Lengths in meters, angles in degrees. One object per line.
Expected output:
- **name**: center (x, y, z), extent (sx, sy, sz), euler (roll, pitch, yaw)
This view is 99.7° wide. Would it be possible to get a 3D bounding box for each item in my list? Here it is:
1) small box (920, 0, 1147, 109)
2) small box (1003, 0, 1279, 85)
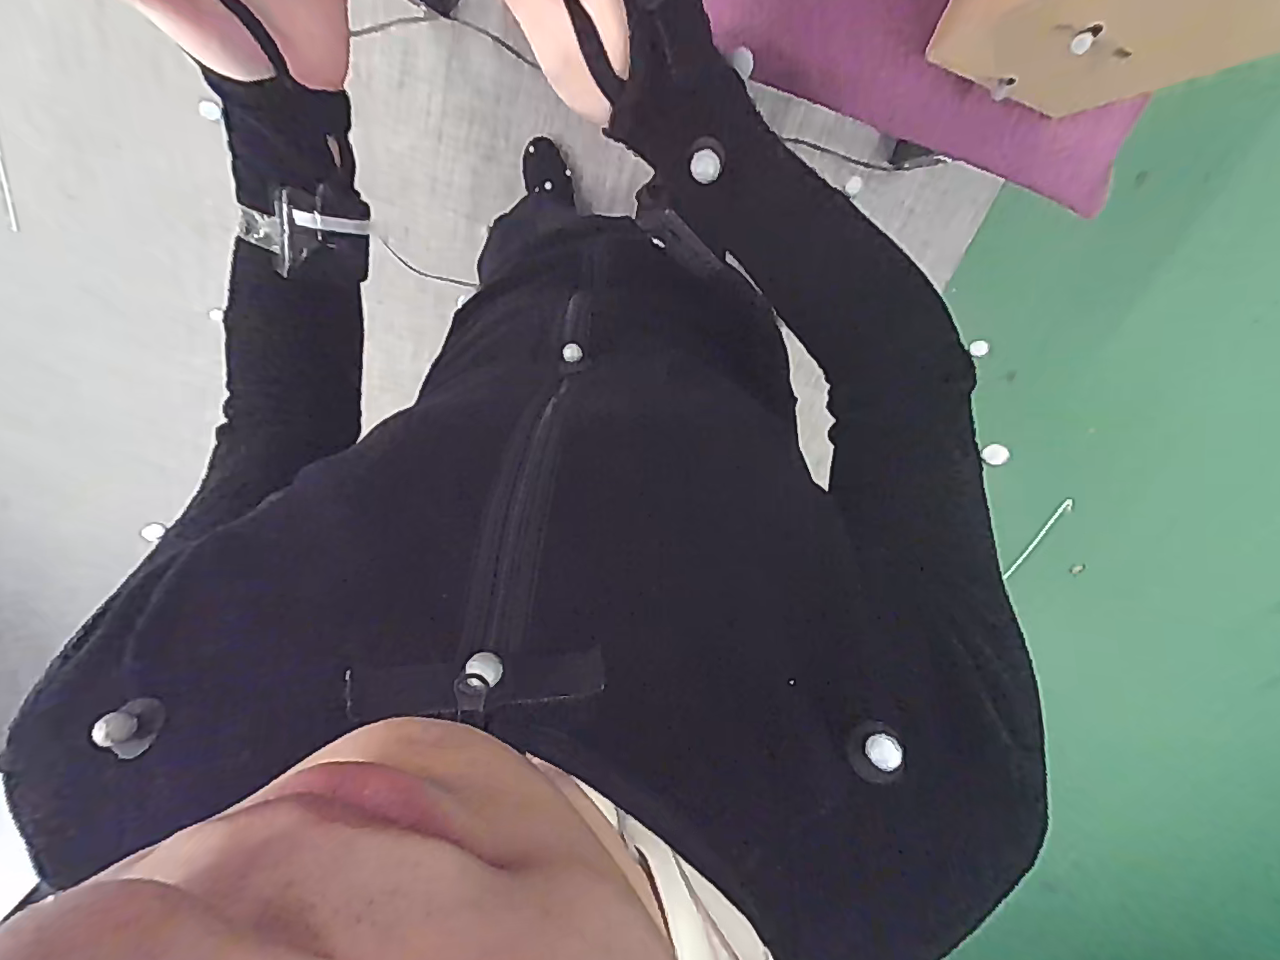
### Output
- **small box**: center (0.418, -0.490, 0.525), extent (0.179, 0.176, 0.168), euler (21, 116, -5)
- **small box**: center (0.407, -0.421, 0.378), extent (0.168, 0.176, 0.179), euler (22, 116, -3)
